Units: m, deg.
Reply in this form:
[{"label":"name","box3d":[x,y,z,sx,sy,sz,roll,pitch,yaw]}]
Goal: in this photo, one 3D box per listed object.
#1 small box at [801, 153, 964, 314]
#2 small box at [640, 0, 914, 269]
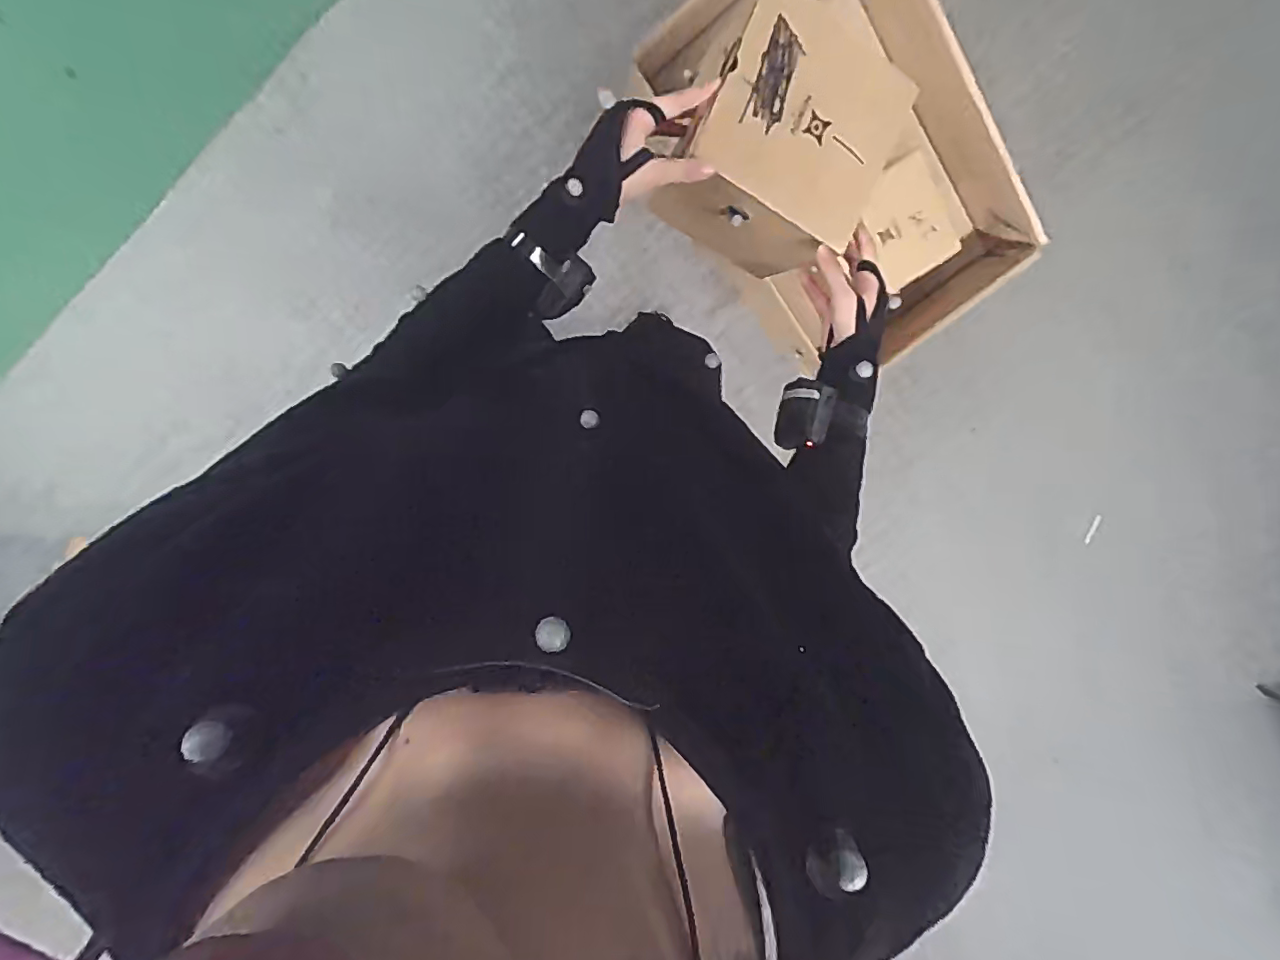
[{"label":"small box","box3d":[0.379,-0.391,0.892,0.179,0.176,0.168,-32,107,8]},{"label":"small box","box3d":[0.121,-0.334,0.546,0.179,0.176,0.168,23,95,-20]}]
